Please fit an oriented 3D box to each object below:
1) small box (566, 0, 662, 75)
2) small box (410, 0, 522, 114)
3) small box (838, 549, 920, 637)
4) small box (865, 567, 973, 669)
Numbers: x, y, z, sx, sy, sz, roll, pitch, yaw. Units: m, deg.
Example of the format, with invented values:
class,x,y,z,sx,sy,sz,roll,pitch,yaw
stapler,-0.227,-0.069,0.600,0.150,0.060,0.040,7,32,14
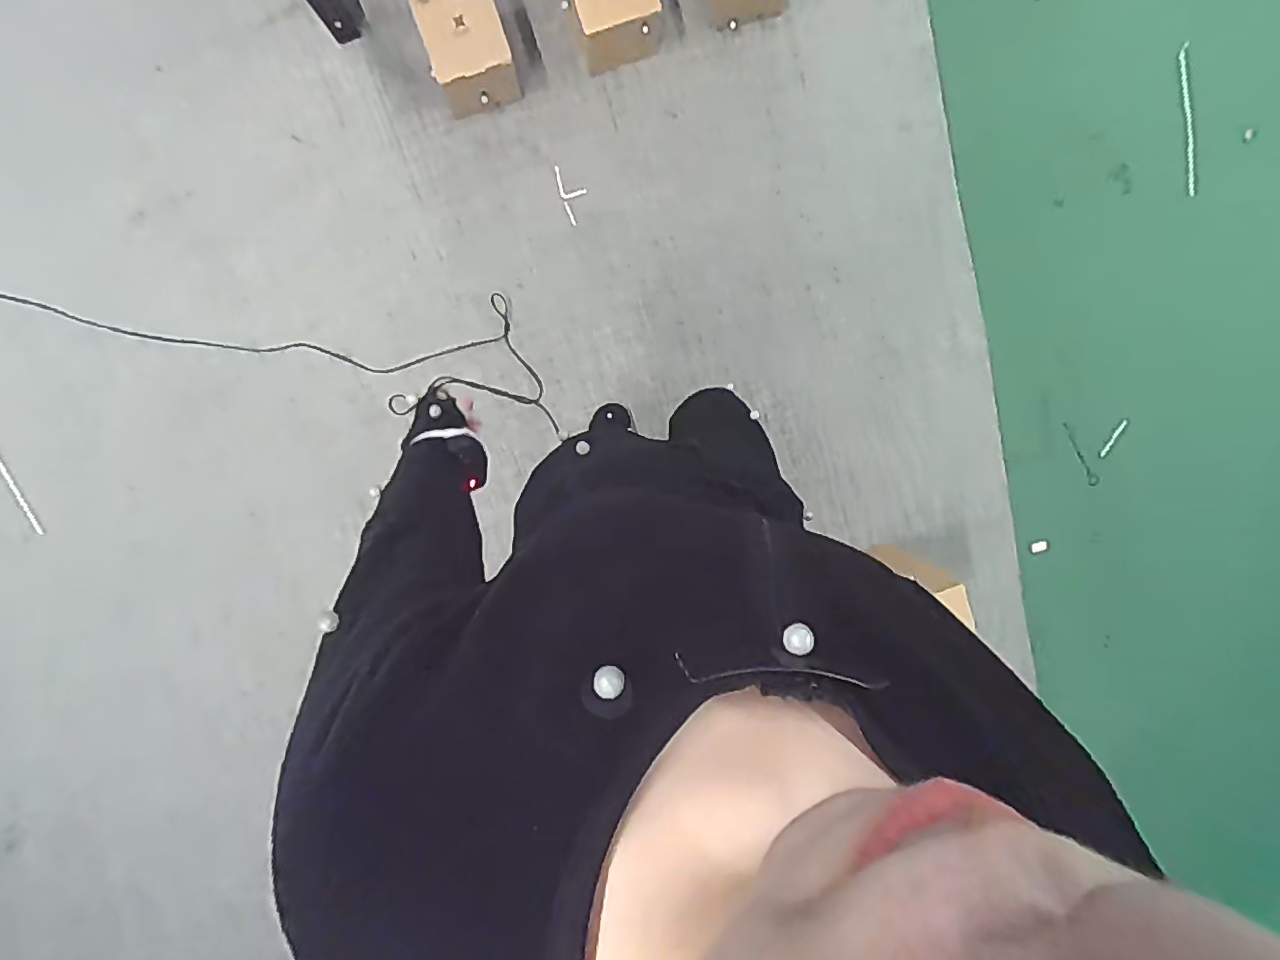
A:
class,x,y,z,sx,sy,sz,roll,pitch,yaw
small box,-0.065,-1.048,1.200,0.179,0.176,0.168,-20,103,-1
small box,-0.372,-0.944,1.191,0.168,0.176,0.179,-18,103,0
small box,0.683,0.309,1.532,0.168,0.176,0.179,-19,103,-1
small box,0.698,0.337,1.370,0.168,0.176,0.179,-20,102,0
